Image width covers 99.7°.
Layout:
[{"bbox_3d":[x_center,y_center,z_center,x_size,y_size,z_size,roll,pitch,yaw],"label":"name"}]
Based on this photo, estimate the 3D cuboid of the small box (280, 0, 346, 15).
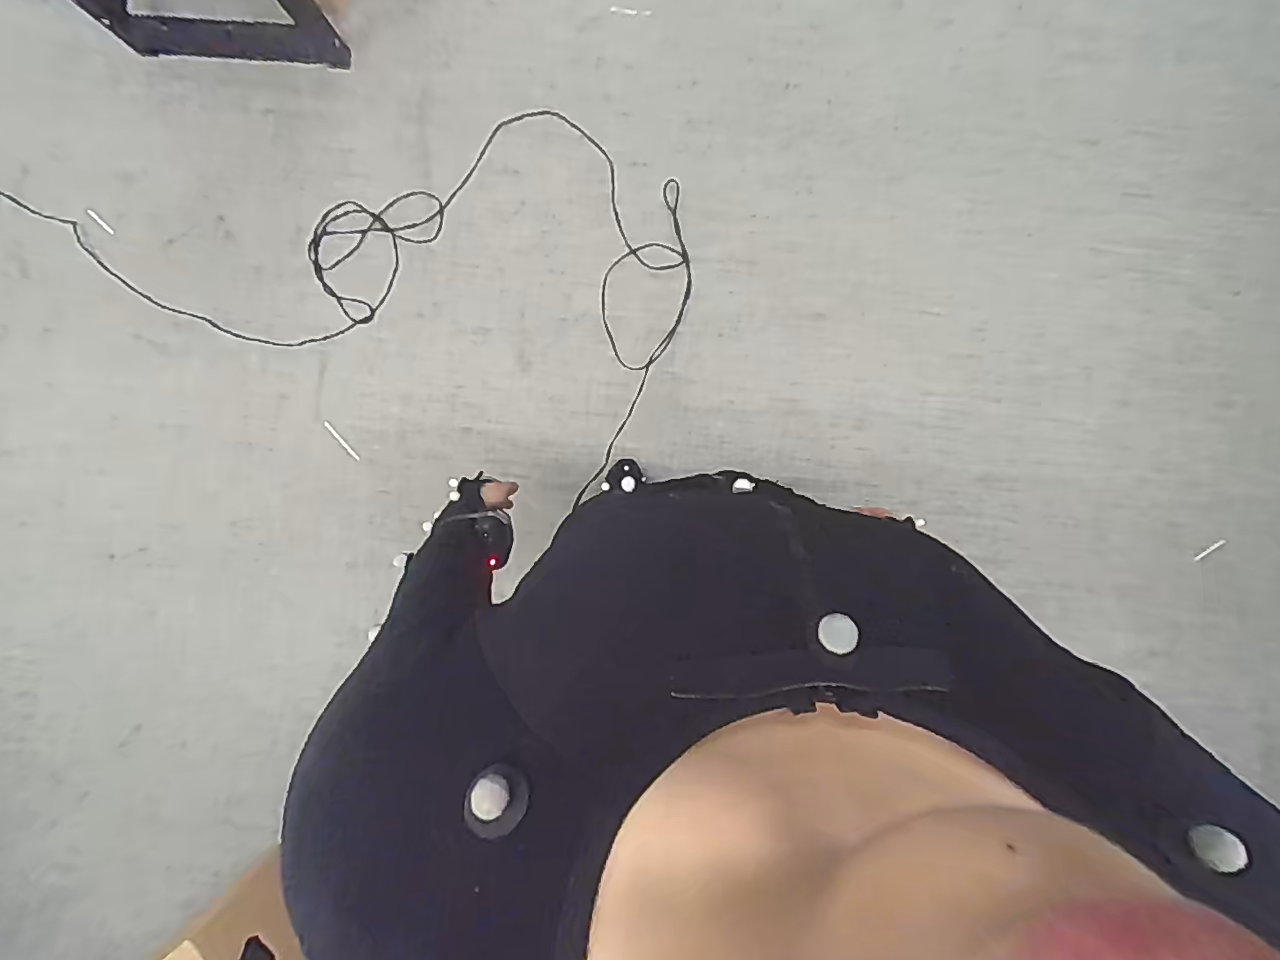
[{"bbox_3d":[-0.857,-1.327,1.363,0.179,0.176,0.168,9,93,0],"label":"small box"}]
